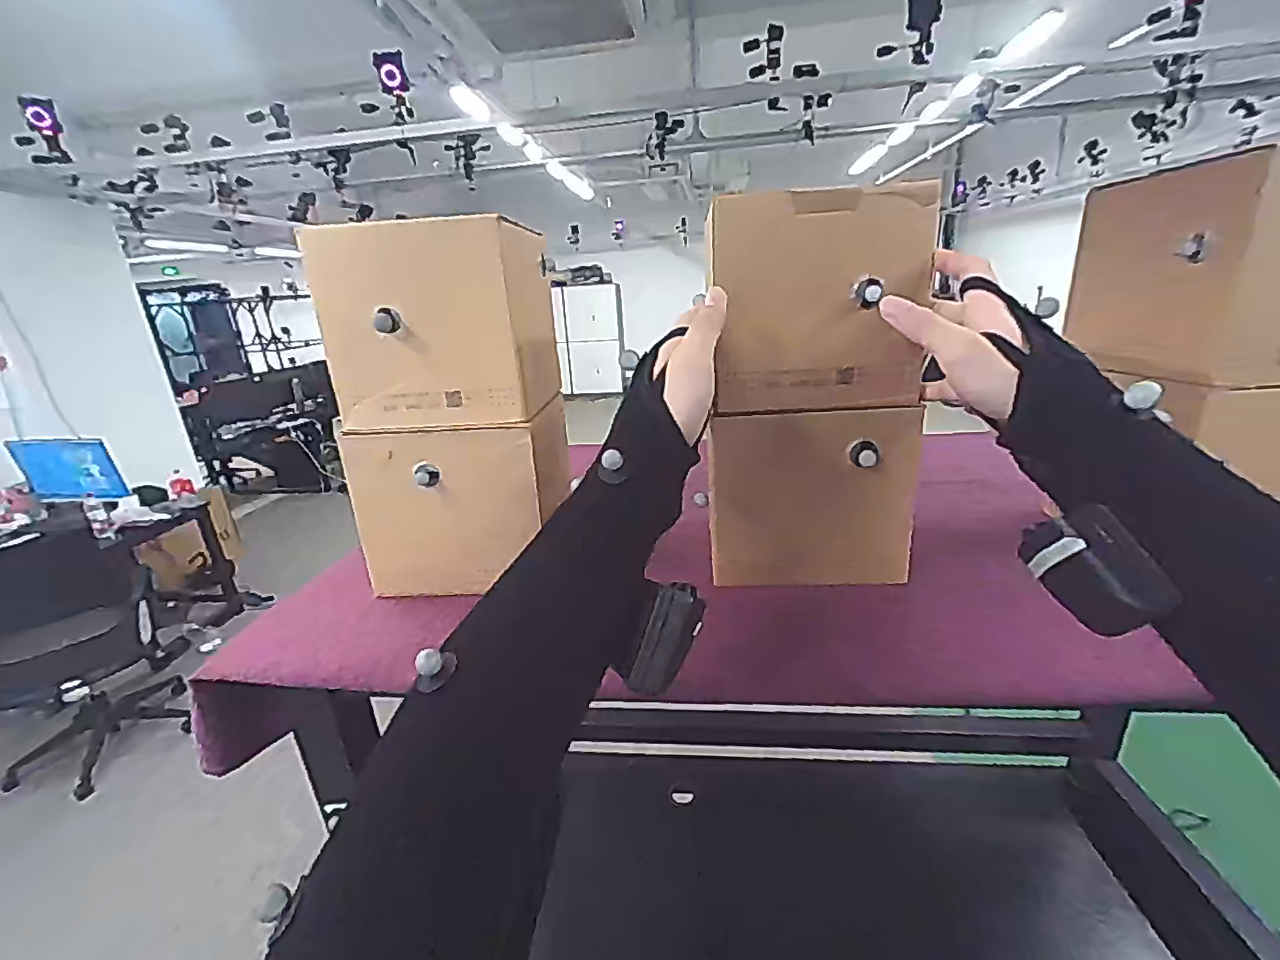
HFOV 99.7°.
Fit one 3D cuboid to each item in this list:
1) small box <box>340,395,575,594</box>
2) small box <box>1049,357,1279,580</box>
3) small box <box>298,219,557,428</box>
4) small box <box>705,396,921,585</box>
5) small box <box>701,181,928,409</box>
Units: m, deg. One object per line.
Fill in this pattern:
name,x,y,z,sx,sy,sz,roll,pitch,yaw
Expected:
small box,-0.174,0.010,0.575,0.179,0.176,0.168,-2,19,4
small box,0.527,-0.017,0.500,0.179,0.176,0.168,-2,17,6
small box,-0.183,-0.145,0.529,0.168,0.176,0.179,-3,18,4
small box,0.156,-0.004,0.547,0.179,0.176,0.168,-2,19,7
small box,0.143,-0.160,0.500,0.168,0.176,0.179,-2,19,6
